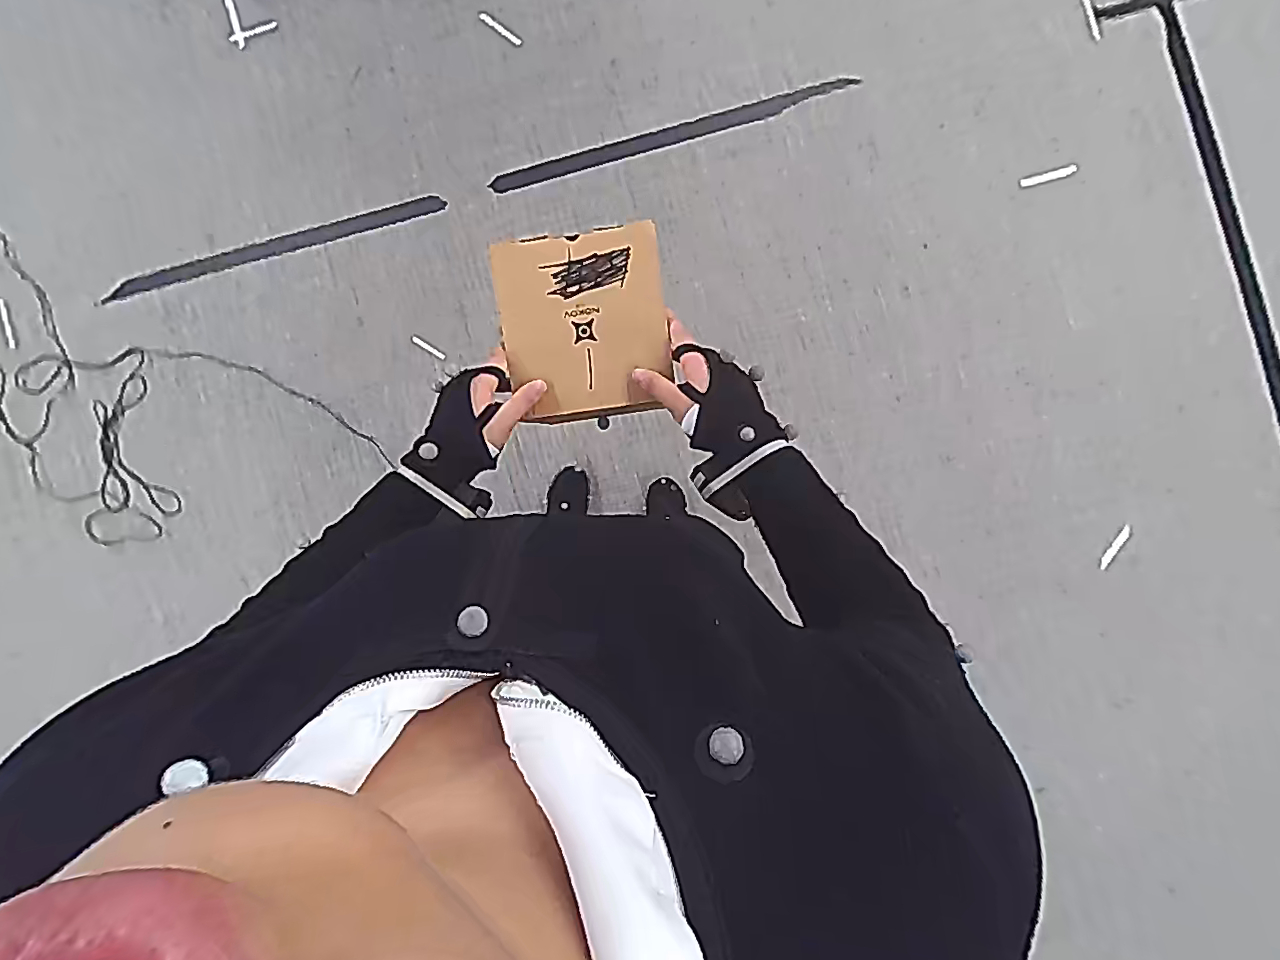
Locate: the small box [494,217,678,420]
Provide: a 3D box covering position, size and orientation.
[{"bbox_3d":[-0.051,-0.167,0.614,0.168,0.176,0.179,-8,95,3],"label":"small box"}]
